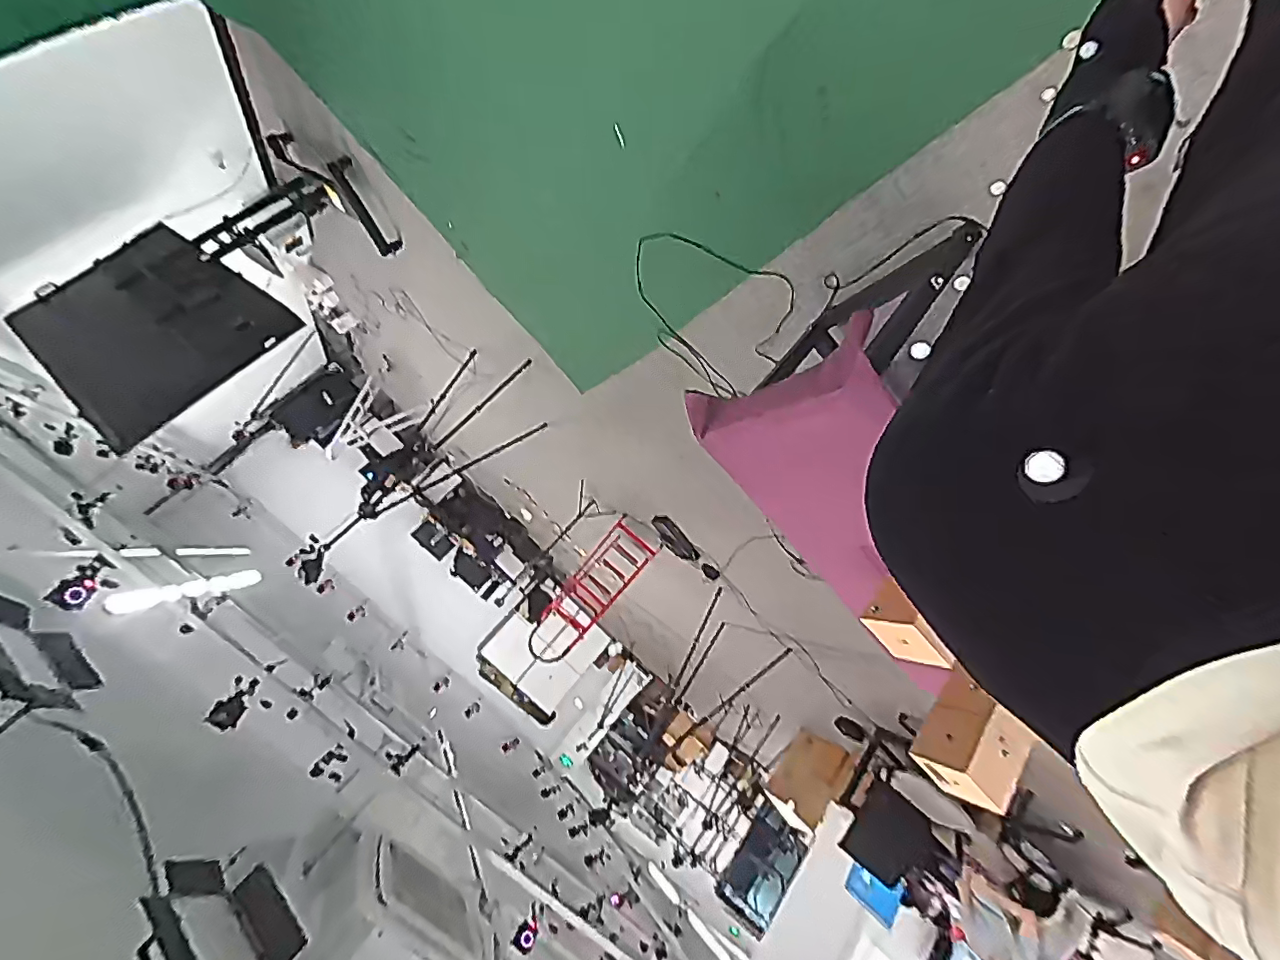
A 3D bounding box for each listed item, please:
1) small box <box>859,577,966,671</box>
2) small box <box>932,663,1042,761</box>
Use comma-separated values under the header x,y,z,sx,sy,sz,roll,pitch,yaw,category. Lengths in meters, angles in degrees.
x,y,z,sx,sy,sz,roll,pitch,yaw,category
0.728,0.373,1.431,0.168,0.176,0.179,46,157,-11,small box
0.966,0.634,1.504,0.168,0.176,0.179,46,156,-11,small box
